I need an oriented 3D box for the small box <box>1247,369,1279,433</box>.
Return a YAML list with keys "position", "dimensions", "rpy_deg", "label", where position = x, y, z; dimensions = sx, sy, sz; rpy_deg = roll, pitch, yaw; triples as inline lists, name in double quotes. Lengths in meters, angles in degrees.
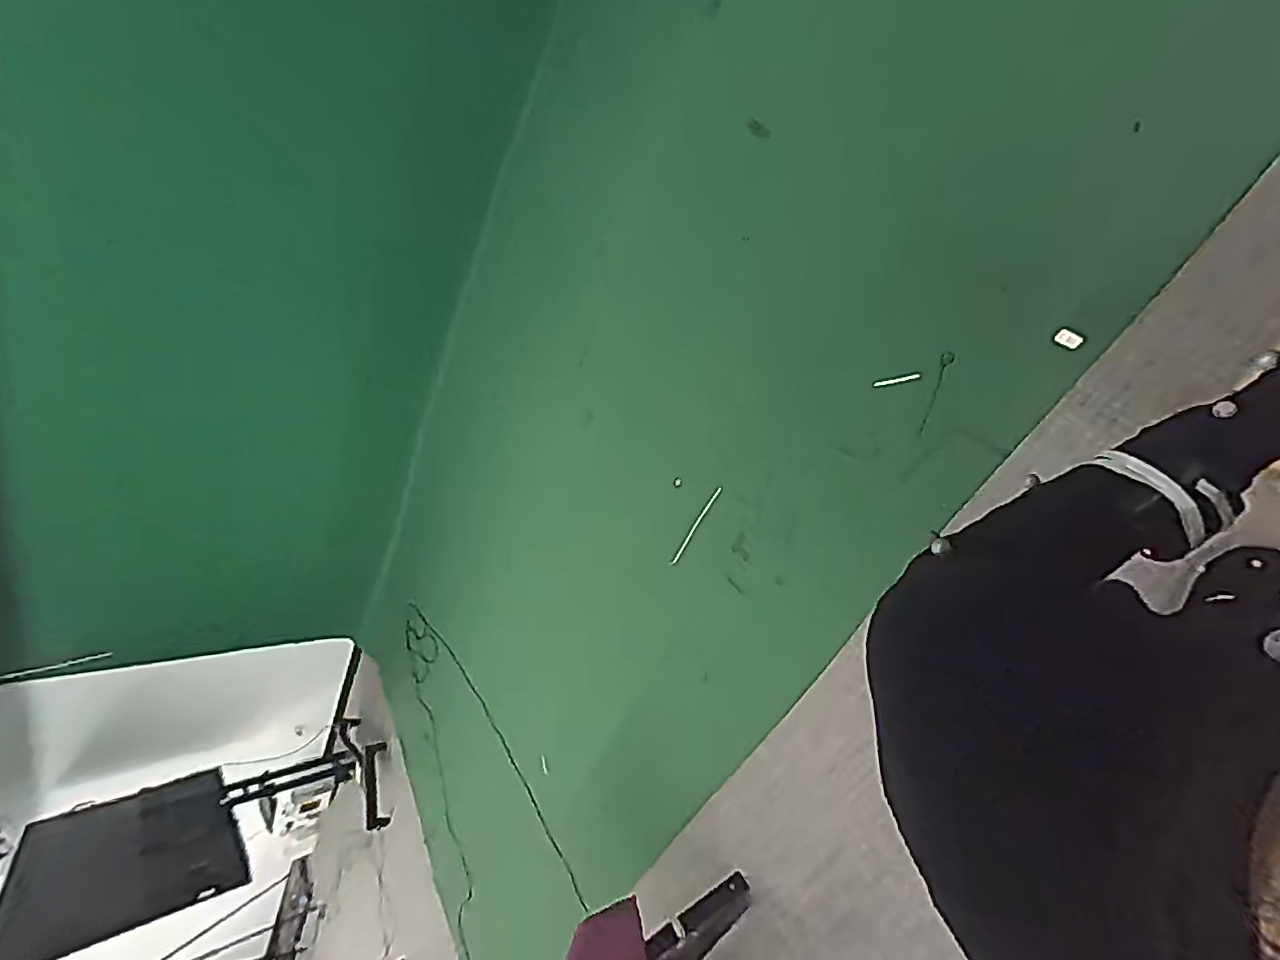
- position: [0.921, -0.112, 0.664]
  dimensions: [0.179, 0.176, 0.168]
  rpy_deg: [47, 120, 40]
  label: "small box"
